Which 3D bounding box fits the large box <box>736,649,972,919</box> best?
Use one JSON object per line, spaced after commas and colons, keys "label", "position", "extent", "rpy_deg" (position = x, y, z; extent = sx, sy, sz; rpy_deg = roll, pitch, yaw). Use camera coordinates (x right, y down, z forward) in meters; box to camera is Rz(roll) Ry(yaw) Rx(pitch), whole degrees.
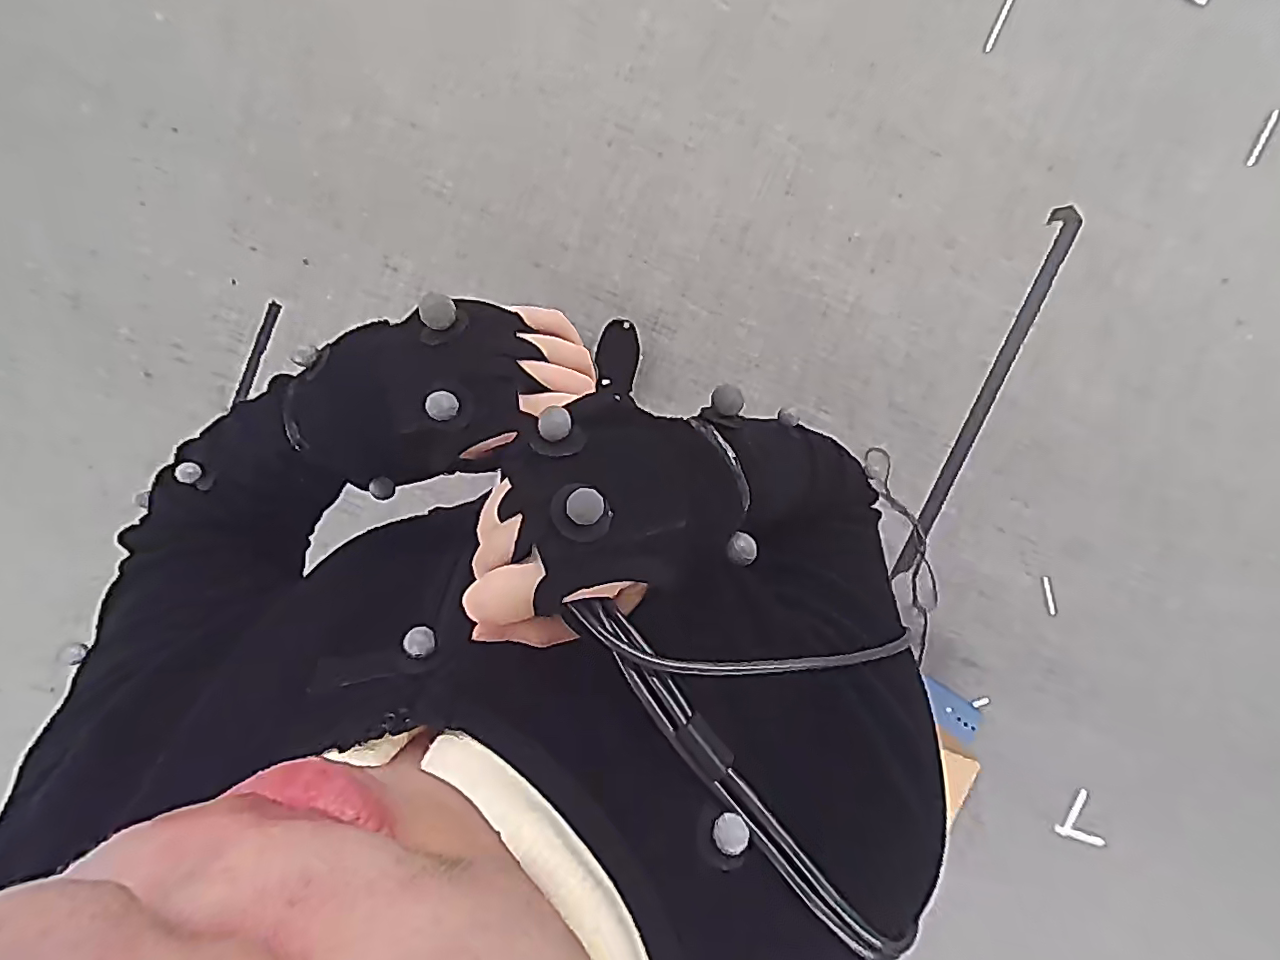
{"label": "large box", "position": [0.467, 0.679, 1.263], "extent": [0.320, 0.320, 0.408], "rpy_deg": [22, 96, -4]}
